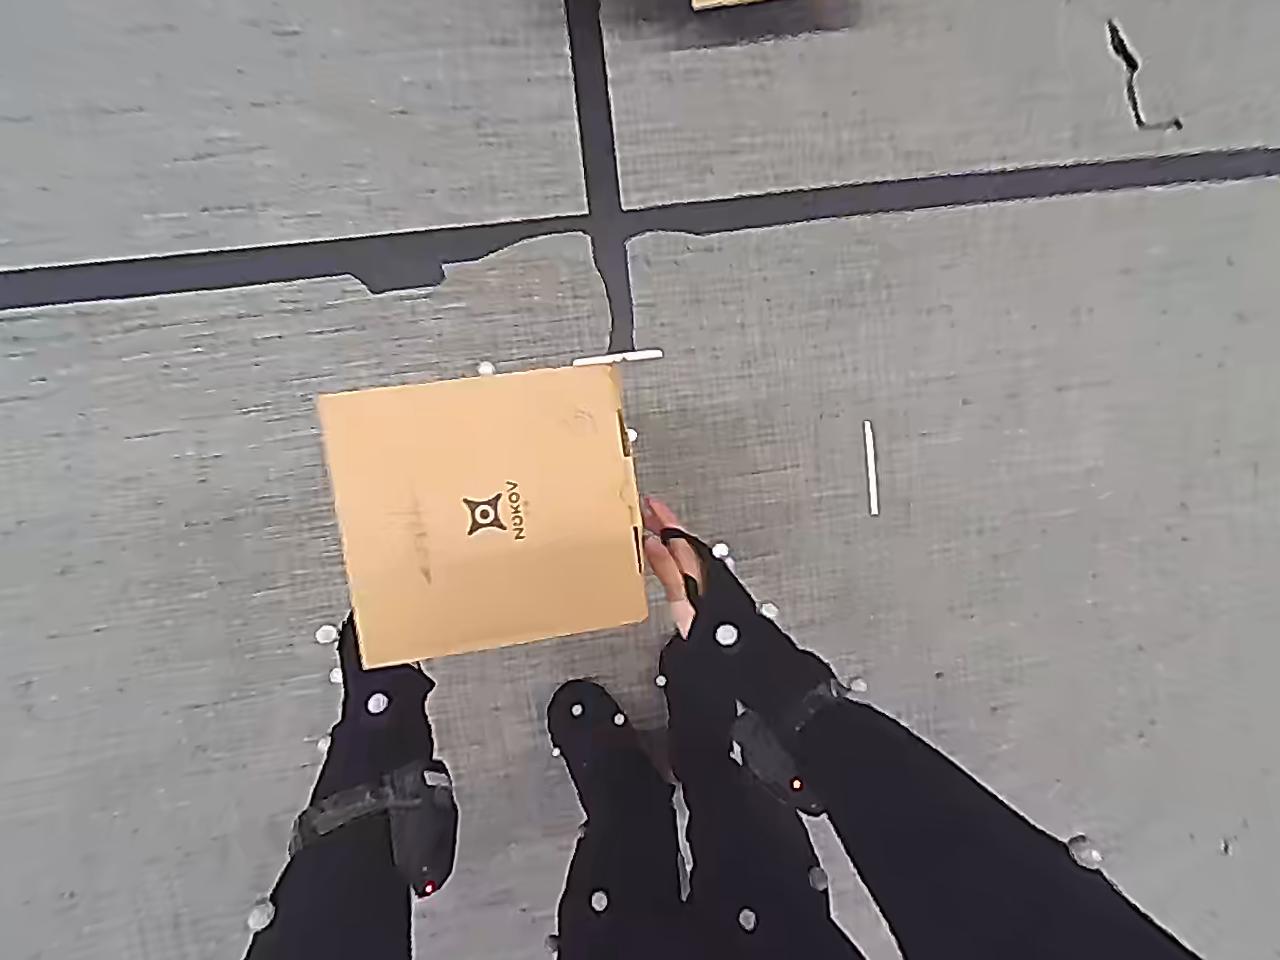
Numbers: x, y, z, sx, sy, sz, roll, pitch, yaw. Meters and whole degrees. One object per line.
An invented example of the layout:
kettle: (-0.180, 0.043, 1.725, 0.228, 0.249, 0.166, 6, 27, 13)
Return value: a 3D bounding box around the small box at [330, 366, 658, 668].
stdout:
small box: (-0.093, 0.016, 0.404, 0.179, 0.176, 0.168, -8, 94, -6)
